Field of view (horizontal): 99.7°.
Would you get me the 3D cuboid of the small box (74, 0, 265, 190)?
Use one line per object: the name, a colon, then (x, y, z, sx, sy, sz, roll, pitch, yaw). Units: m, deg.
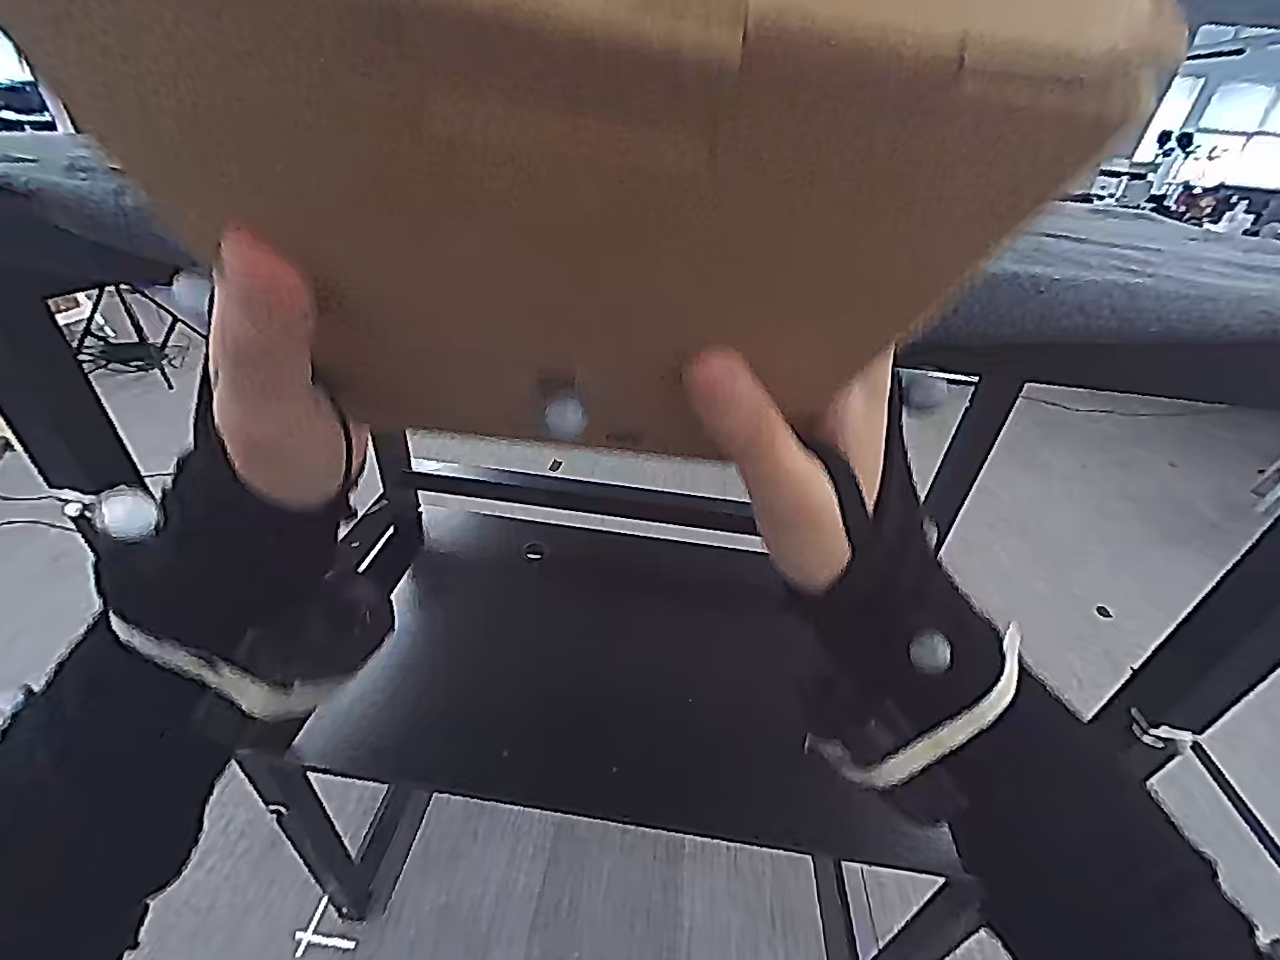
small box: (-0.285, -0.327, 0.419, 0.168, 0.176, 0.179, 8, 33, 2)
